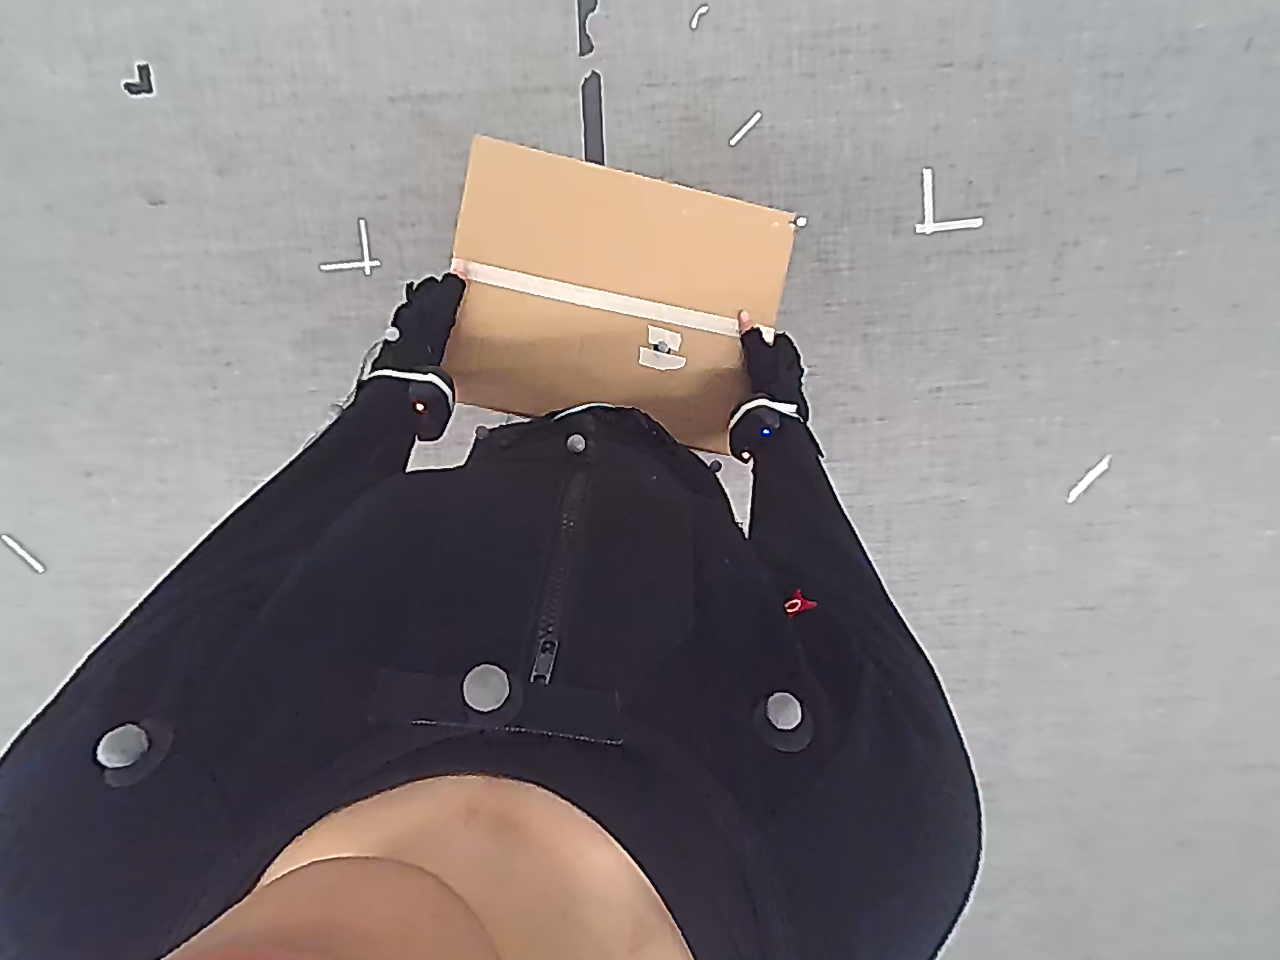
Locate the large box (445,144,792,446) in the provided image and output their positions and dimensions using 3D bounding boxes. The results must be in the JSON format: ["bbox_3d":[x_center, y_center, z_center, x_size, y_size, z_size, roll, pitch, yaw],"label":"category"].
[{"bbox_3d":[-0.040,-0.238,0.831,0.408,0.320,0.320,11,94,-6],"label":"large box"}]
